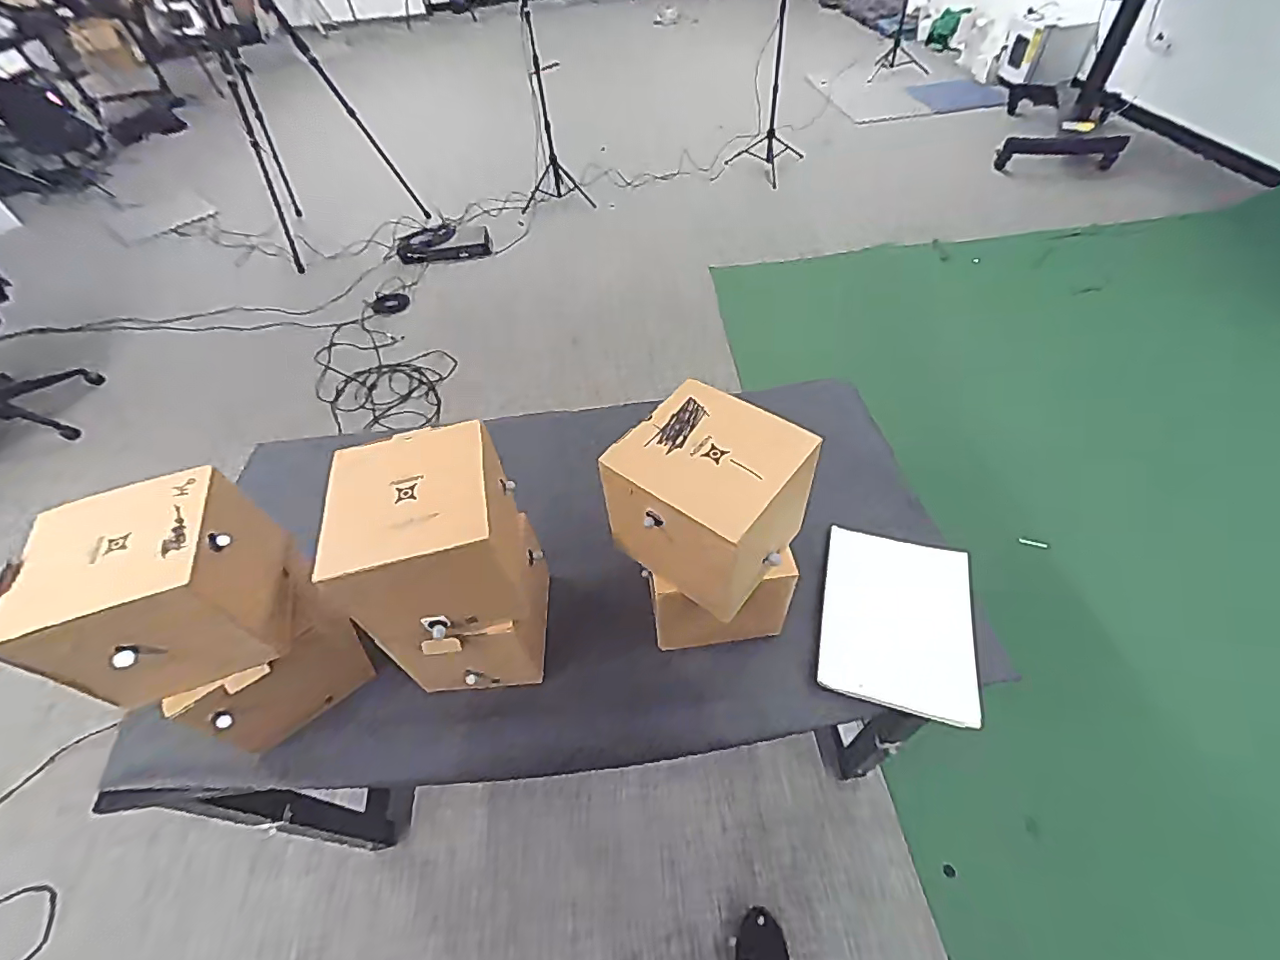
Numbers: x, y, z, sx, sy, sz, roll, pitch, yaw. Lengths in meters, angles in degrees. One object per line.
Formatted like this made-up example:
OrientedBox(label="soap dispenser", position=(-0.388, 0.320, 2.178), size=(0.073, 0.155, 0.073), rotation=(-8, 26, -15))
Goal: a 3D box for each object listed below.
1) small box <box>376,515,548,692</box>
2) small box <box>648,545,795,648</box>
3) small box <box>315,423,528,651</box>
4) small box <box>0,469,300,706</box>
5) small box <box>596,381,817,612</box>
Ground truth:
OrientedBox(label="small box", position=(-0.227, 0.171, 0.745), size=(0.168, 0.176, 0.179), rotation=(-6, 50, 2))
OrientedBox(label="small box", position=(0.099, 0.117, 0.759), size=(0.179, 0.176, 0.168), rotation=(-9, 50, 0))
OrientedBox(label="small box", position=(-0.235, 0.067, 0.620), size=(0.168, 0.176, 0.179), rotation=(-15, 50, -5))
OrientedBox(label="small box", position=(-0.519, 0.123, 0.600), size=(0.179, 0.176, 0.168), rotation=(-19, 51, -9))
OrientedBox(label="small box", position=(0.074, 0.021, 0.626), size=(0.179, 0.176, 0.168), rotation=(31, 60, 27))
